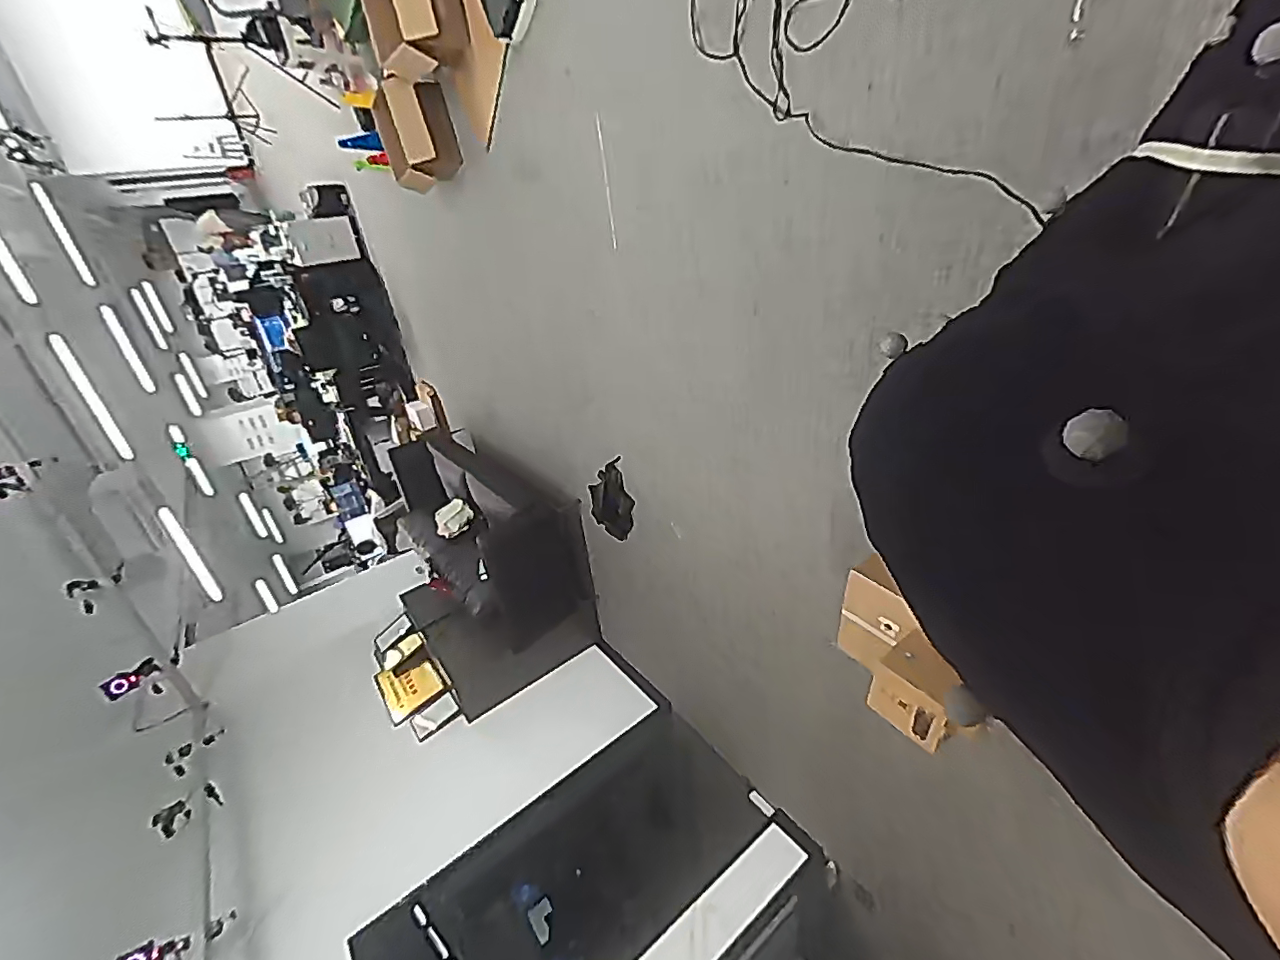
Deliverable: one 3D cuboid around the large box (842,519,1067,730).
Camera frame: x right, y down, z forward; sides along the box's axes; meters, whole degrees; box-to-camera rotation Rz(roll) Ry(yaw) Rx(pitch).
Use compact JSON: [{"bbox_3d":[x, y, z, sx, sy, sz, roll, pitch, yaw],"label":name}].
[{"bbox_3d":[0.830,0.369,1.471,0.408,0.320,0.320,34,138,44],"label":"large box"}]
